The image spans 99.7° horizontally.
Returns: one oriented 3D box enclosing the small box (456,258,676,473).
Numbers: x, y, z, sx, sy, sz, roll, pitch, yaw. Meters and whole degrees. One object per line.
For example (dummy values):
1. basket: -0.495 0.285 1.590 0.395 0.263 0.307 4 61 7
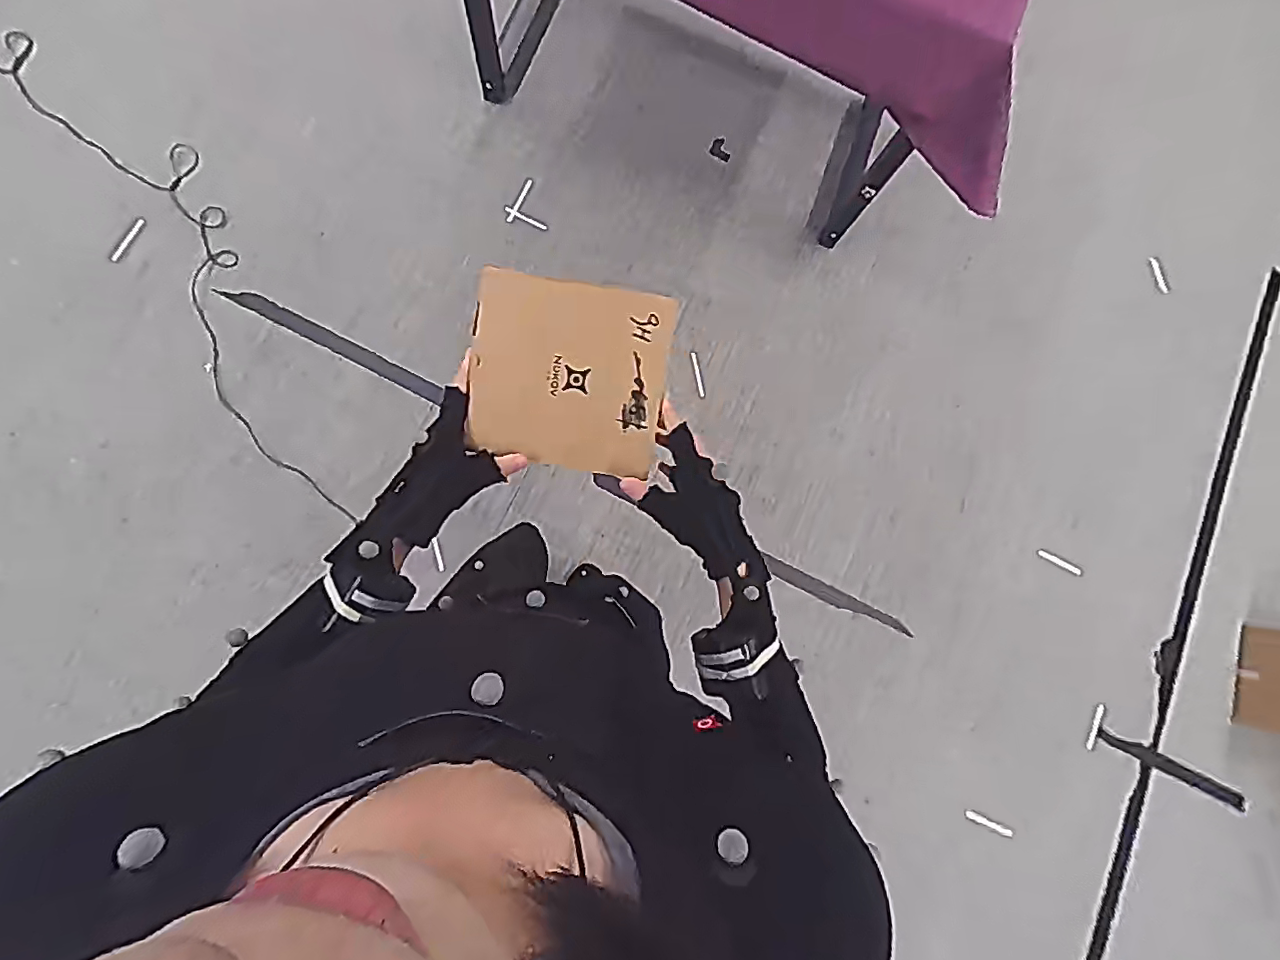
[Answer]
1. small box: -0.066 -0.109 0.557 0.179 0.176 0.168 10 98 -1
